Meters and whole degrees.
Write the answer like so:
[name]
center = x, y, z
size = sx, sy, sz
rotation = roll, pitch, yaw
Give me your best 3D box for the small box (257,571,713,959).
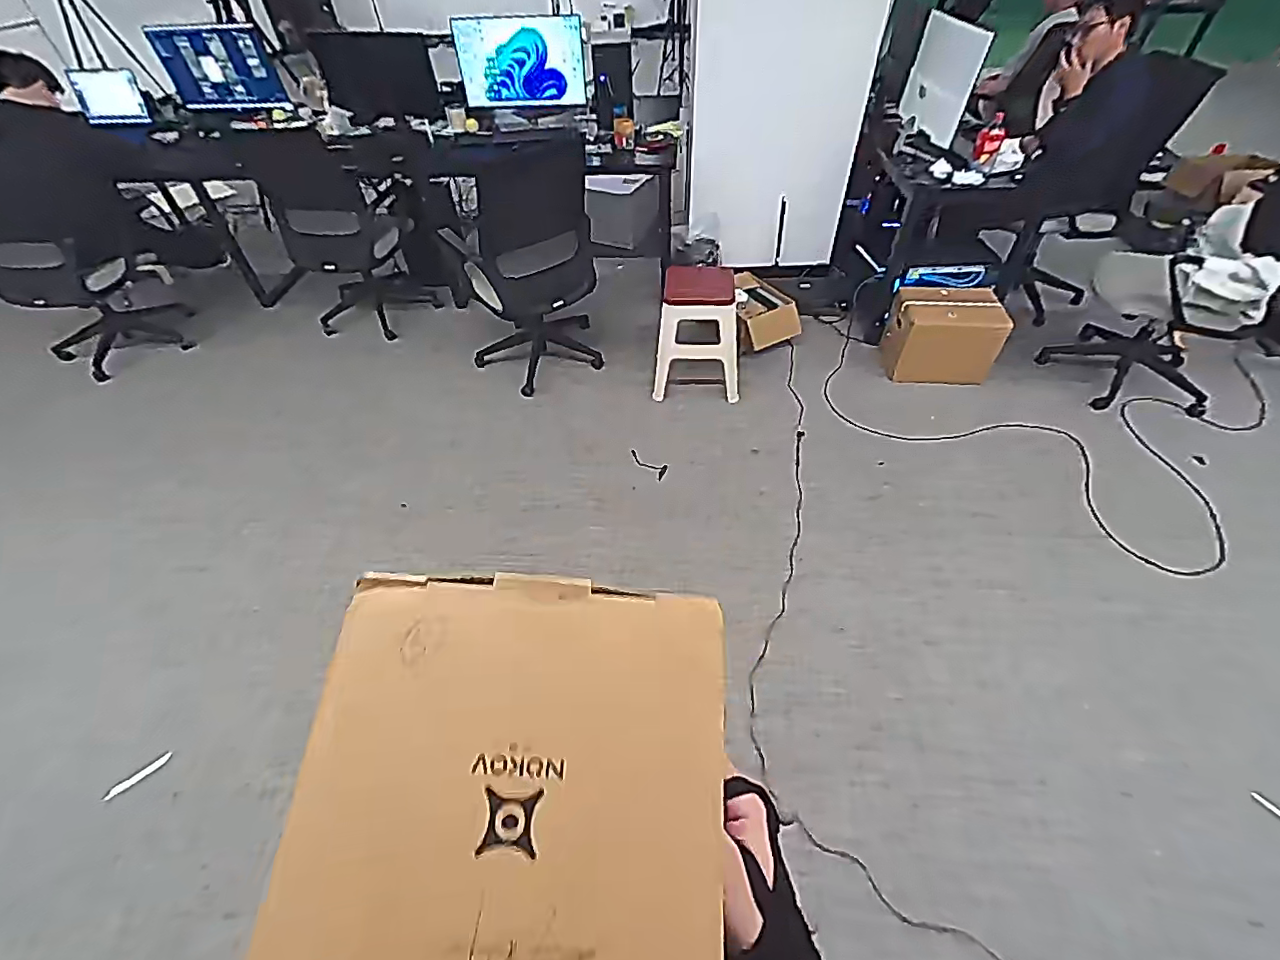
[small box]
center = -0.057, 0.163, 0.294
size = 0.168, 0.176, 0.179
rotation = 5, 64, -1
